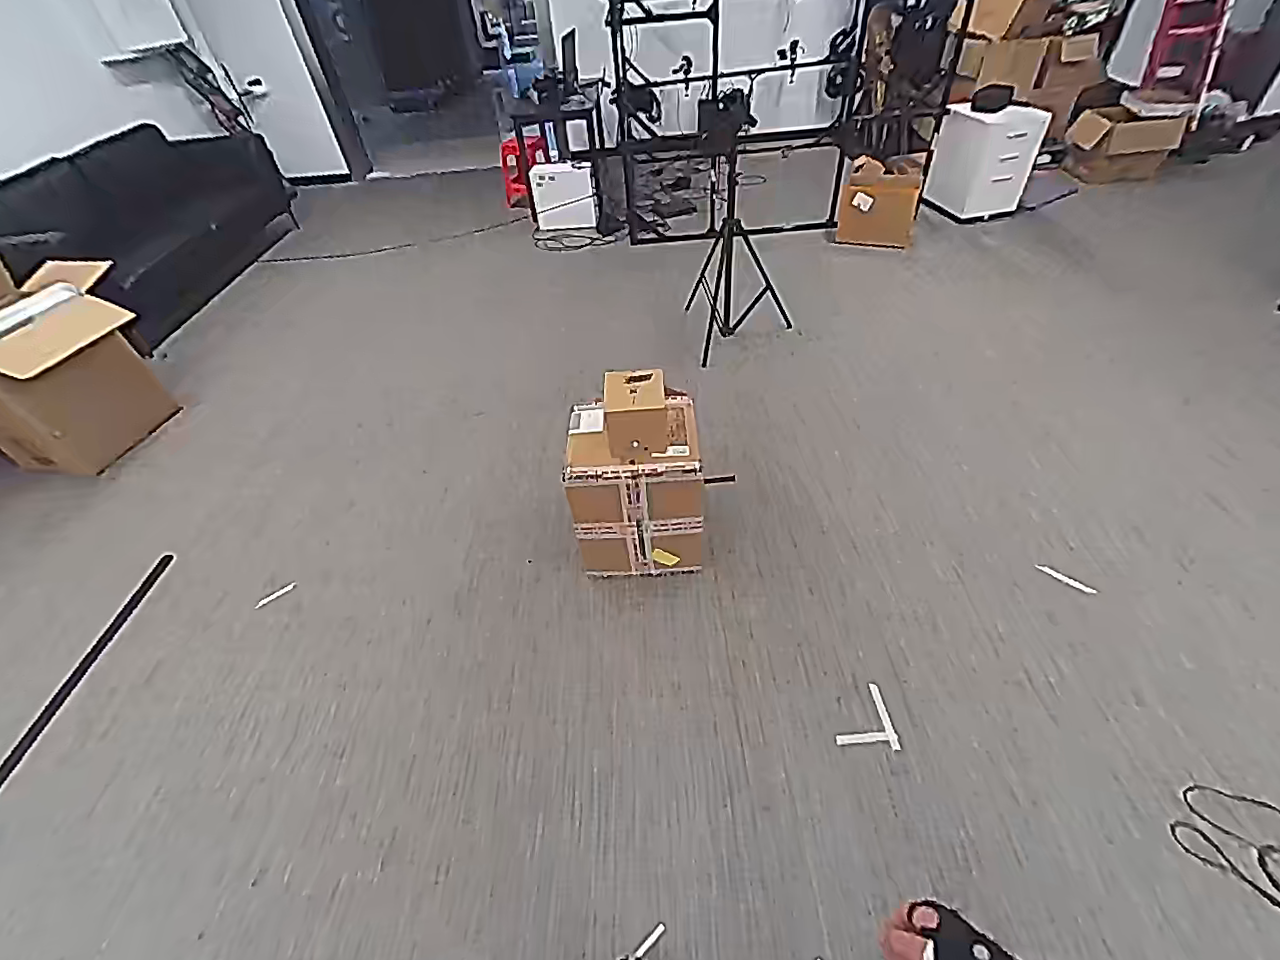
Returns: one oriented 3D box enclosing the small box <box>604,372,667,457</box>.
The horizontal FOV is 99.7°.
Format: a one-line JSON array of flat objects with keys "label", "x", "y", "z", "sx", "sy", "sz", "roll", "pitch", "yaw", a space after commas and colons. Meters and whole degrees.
[{"label": "small box", "x": -0.010, "y": -0.184, "z": 1.538, "sx": 0.168, "sy": 0.176, "sz": 0.179, "roll": -4, "pitch": 48, "yaw": 3}]
